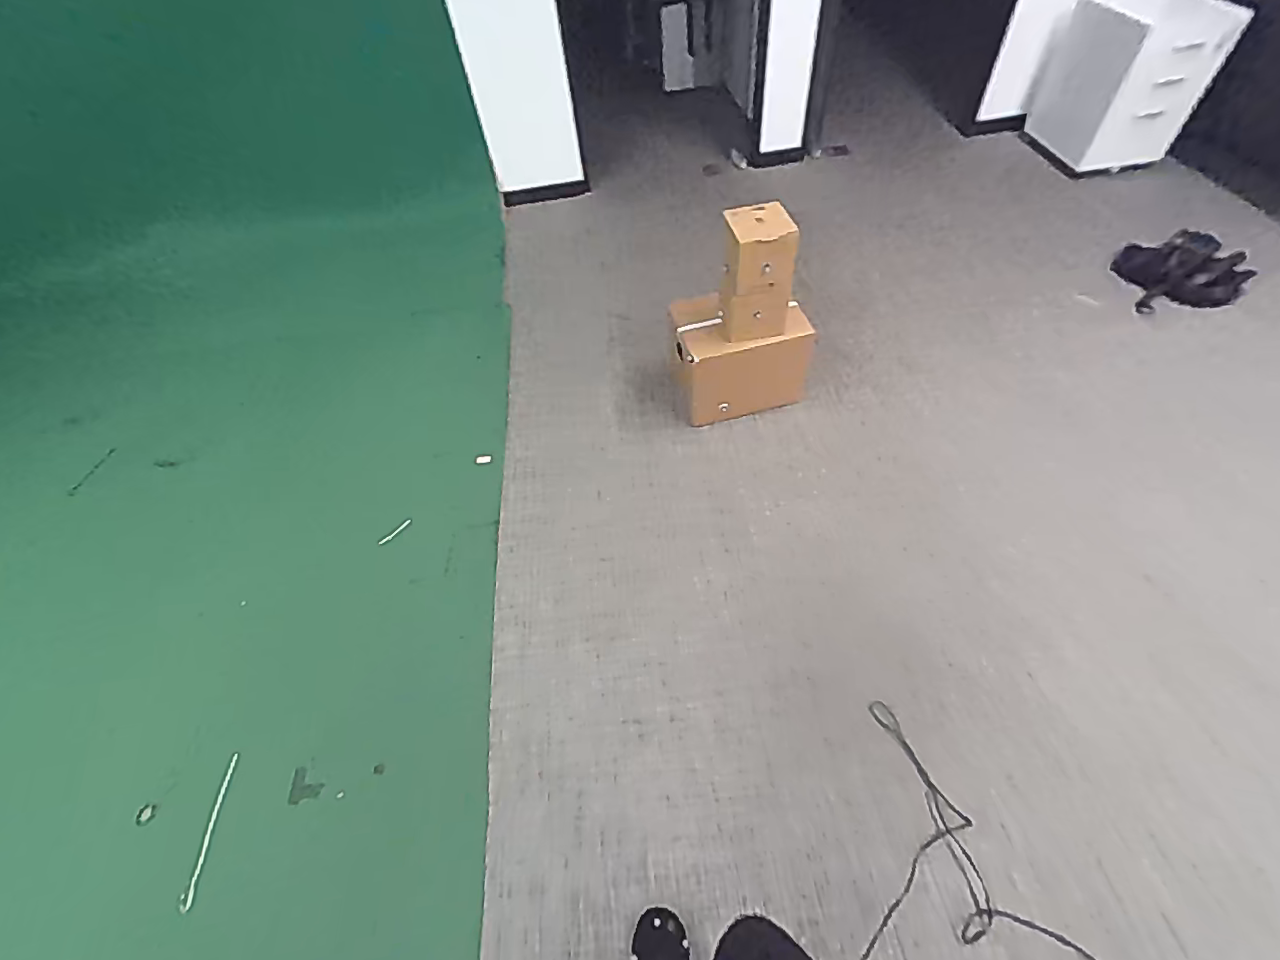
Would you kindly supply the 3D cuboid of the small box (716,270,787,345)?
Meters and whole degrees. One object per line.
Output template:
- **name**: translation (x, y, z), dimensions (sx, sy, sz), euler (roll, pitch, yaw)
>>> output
- **small box**: translation (0.339, -0.544, 1.674), dimensions (0.179, 0.176, 0.168), euler (-10, 53, -1)

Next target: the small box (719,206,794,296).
- **small box**: translation (0.326, -0.648, 1.549), dimensions (0.168, 0.176, 0.179), euler (-11, 54, -2)
